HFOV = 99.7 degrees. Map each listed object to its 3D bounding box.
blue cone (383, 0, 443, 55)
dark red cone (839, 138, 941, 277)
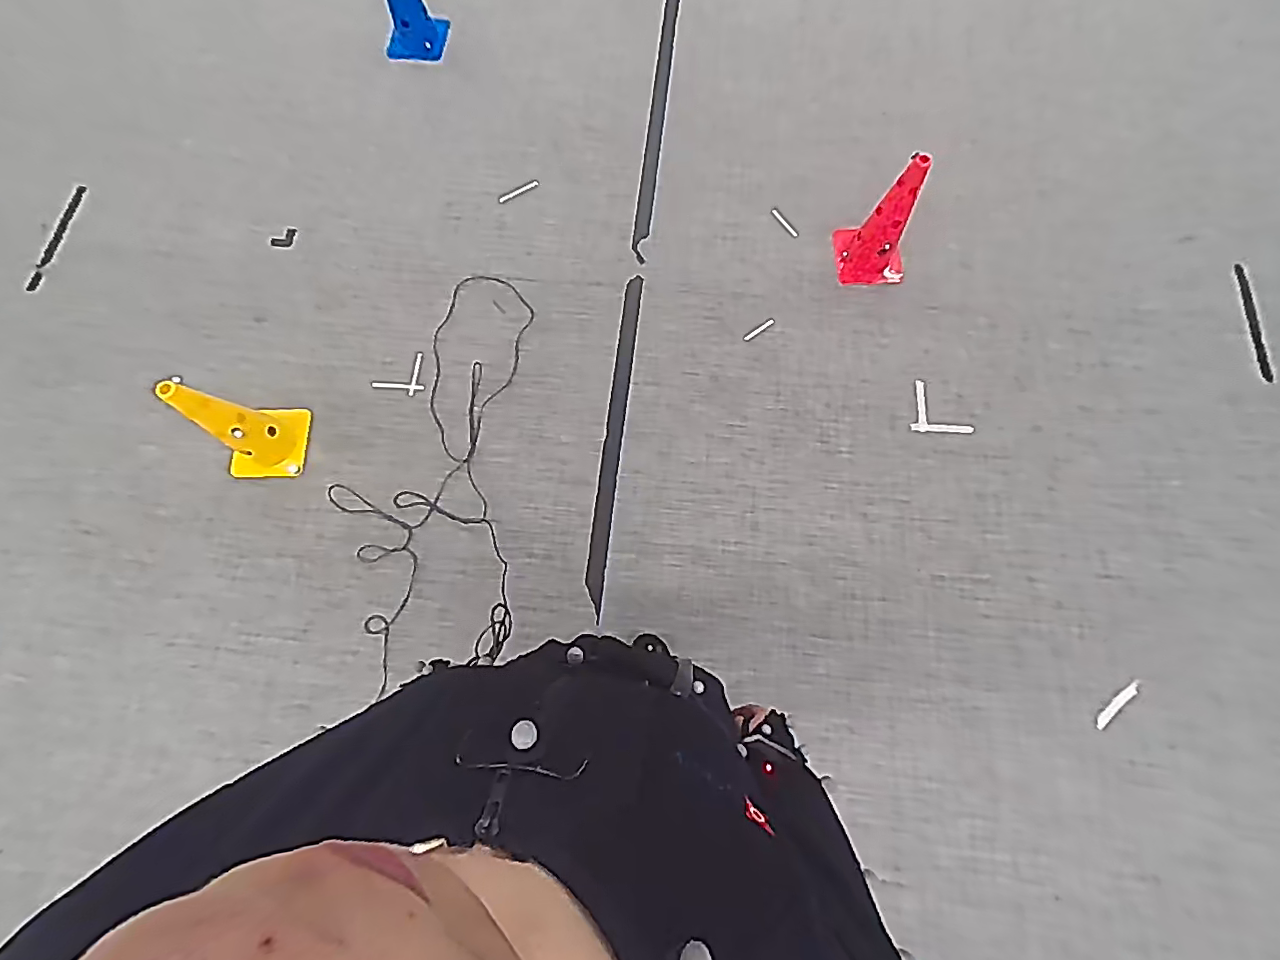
[{"bbox_3d":[-0.803,-1.616,1.749,0.192,0.380,0.193,6,74,3],"label":"blue cone"},{"bbox_3d":[0.698,-0.742,1.459,0.201,0.394,0.202,-2,74,1],"label":"dark red cone"}]
